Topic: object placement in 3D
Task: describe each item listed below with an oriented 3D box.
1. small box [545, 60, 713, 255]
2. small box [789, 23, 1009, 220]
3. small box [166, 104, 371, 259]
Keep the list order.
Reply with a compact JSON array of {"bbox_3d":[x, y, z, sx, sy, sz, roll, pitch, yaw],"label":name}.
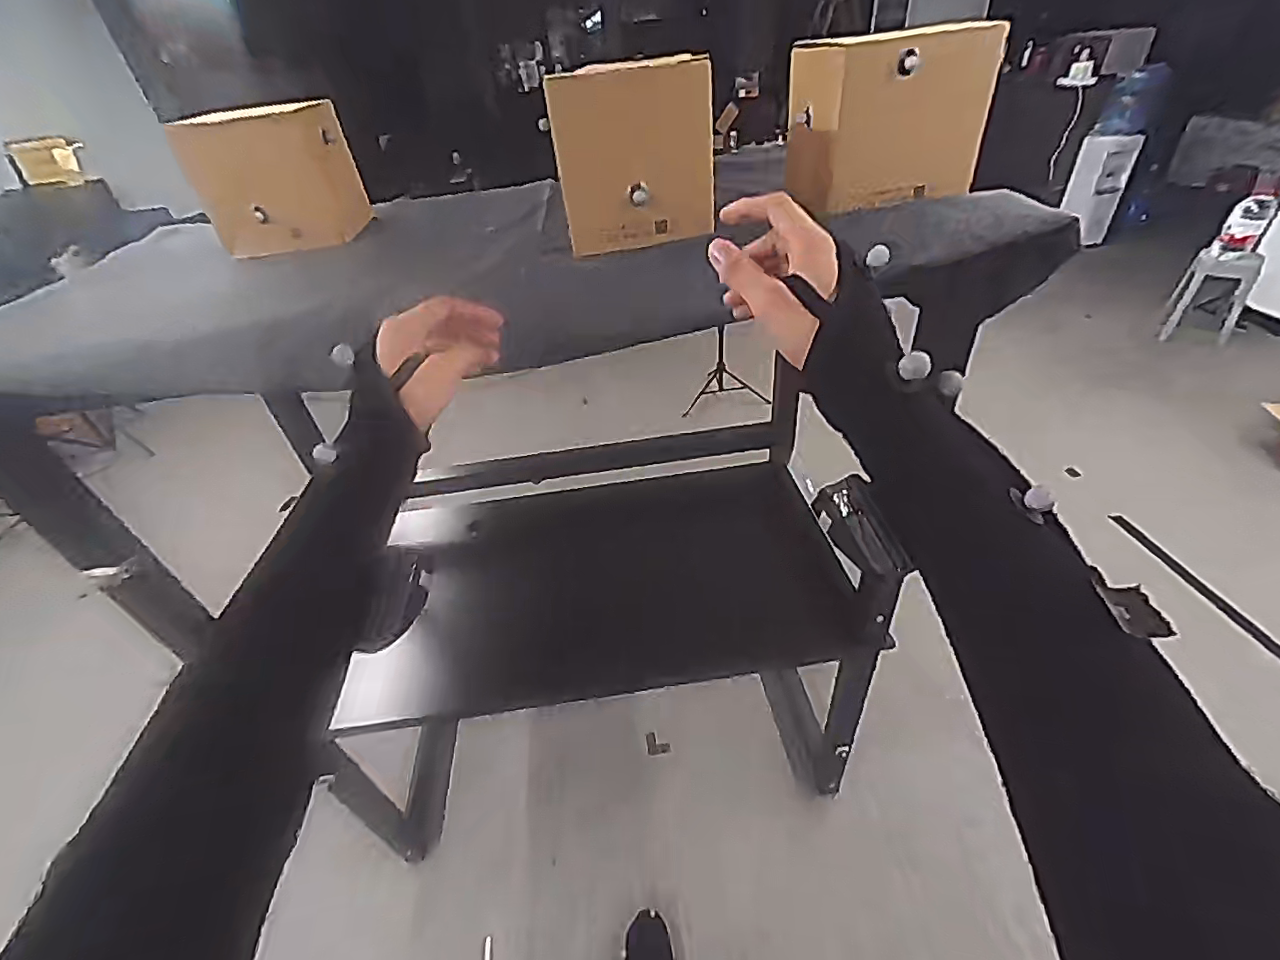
[{"bbox_3d":[-0.012,-0.377,0.636,0.168,0.176,0.179,-9,37,-1],"label":"small box"},{"bbox_3d":[0.284,-0.421,0.645,0.168,0.176,0.179,-8,37,0],"label":"small box"},{"bbox_3d":[-0.523,-0.442,0.799,0.168,0.176,0.179,-9,40,-3],"label":"small box"}]
